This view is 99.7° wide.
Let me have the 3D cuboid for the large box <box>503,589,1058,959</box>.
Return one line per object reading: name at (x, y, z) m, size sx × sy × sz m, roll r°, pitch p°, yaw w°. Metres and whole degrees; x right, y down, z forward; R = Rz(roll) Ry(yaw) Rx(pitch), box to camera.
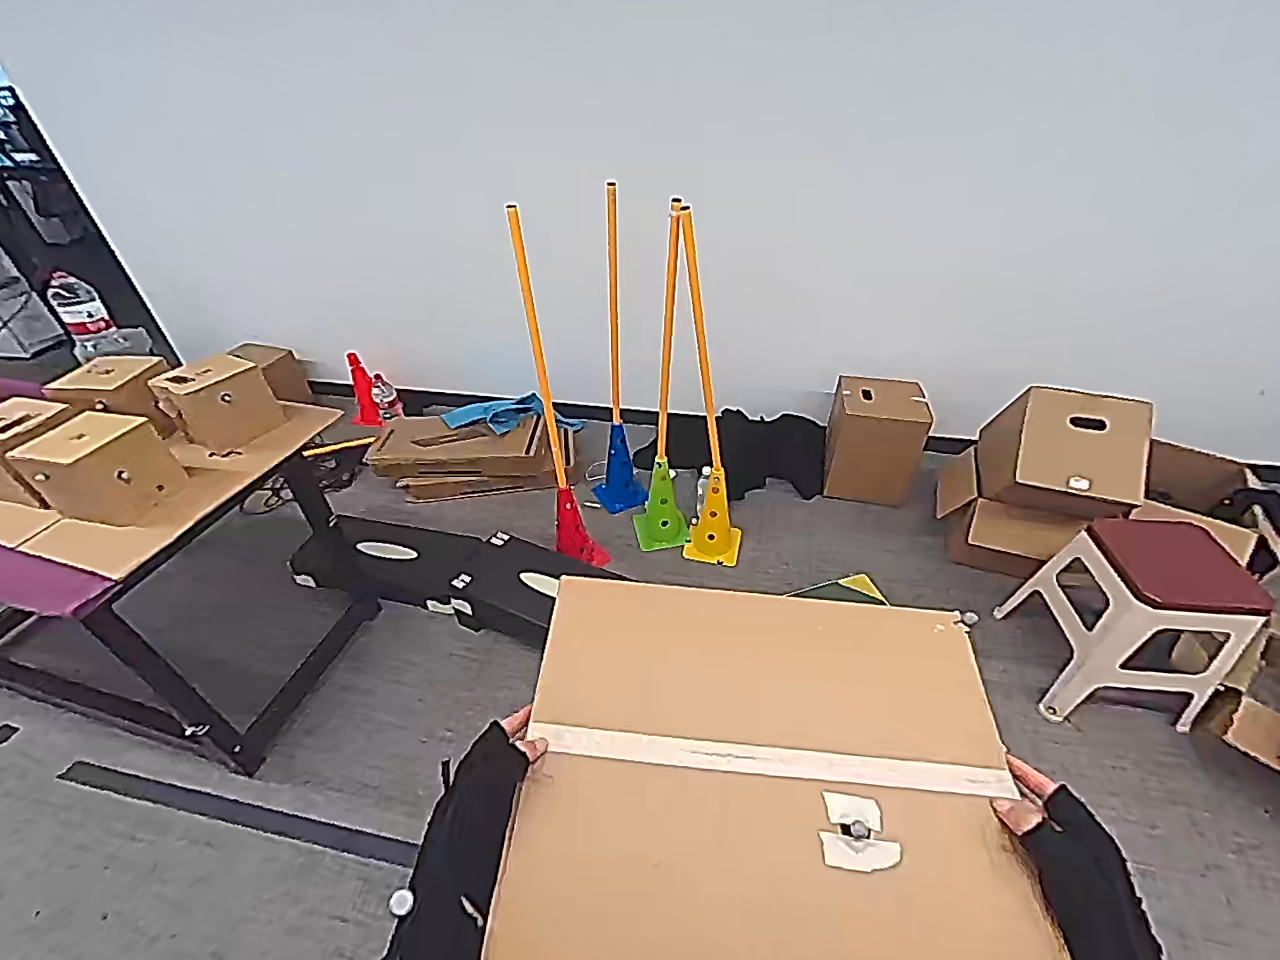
large box at (0.107, 0.340, 0.579) m, size 0.408 × 0.320 × 0.320 m, roll 5°, pitch 51°, yaw 3°
